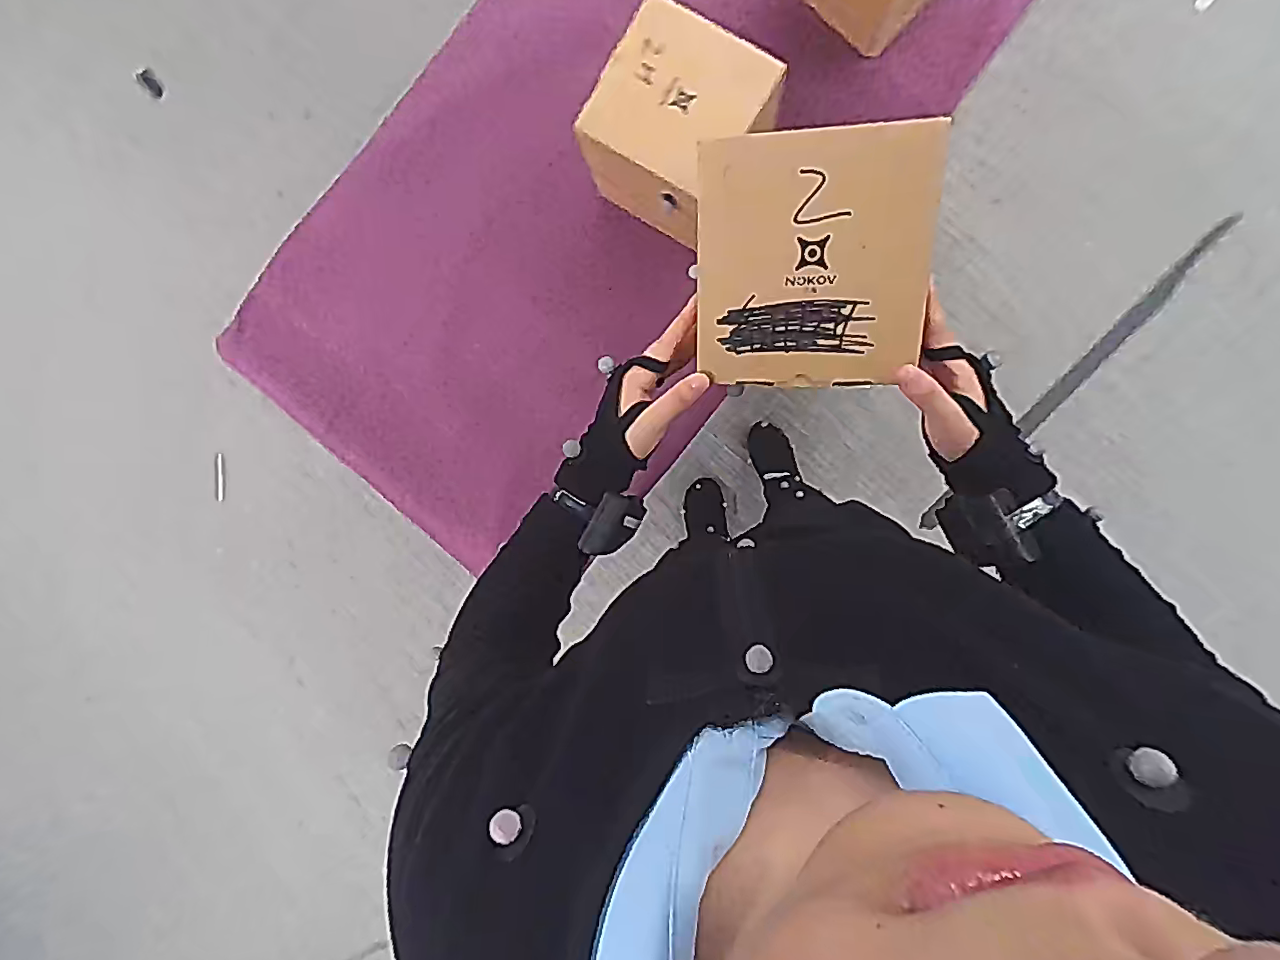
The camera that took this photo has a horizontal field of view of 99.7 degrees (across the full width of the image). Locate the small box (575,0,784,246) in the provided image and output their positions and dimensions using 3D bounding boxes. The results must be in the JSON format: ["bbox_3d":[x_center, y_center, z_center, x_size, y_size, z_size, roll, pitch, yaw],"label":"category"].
[{"bbox_3d":[0.051,-0.420,0.670,0.179,0.176,0.168,32,96,5],"label":"small box"}]

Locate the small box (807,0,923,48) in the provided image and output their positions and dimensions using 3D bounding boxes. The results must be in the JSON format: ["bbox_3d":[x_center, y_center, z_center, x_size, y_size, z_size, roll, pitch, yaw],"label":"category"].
[{"bbox_3d":[0.284,-0.671,0.630,0.168,0.176,0.179,-45,86,7],"label":"small box"}]
